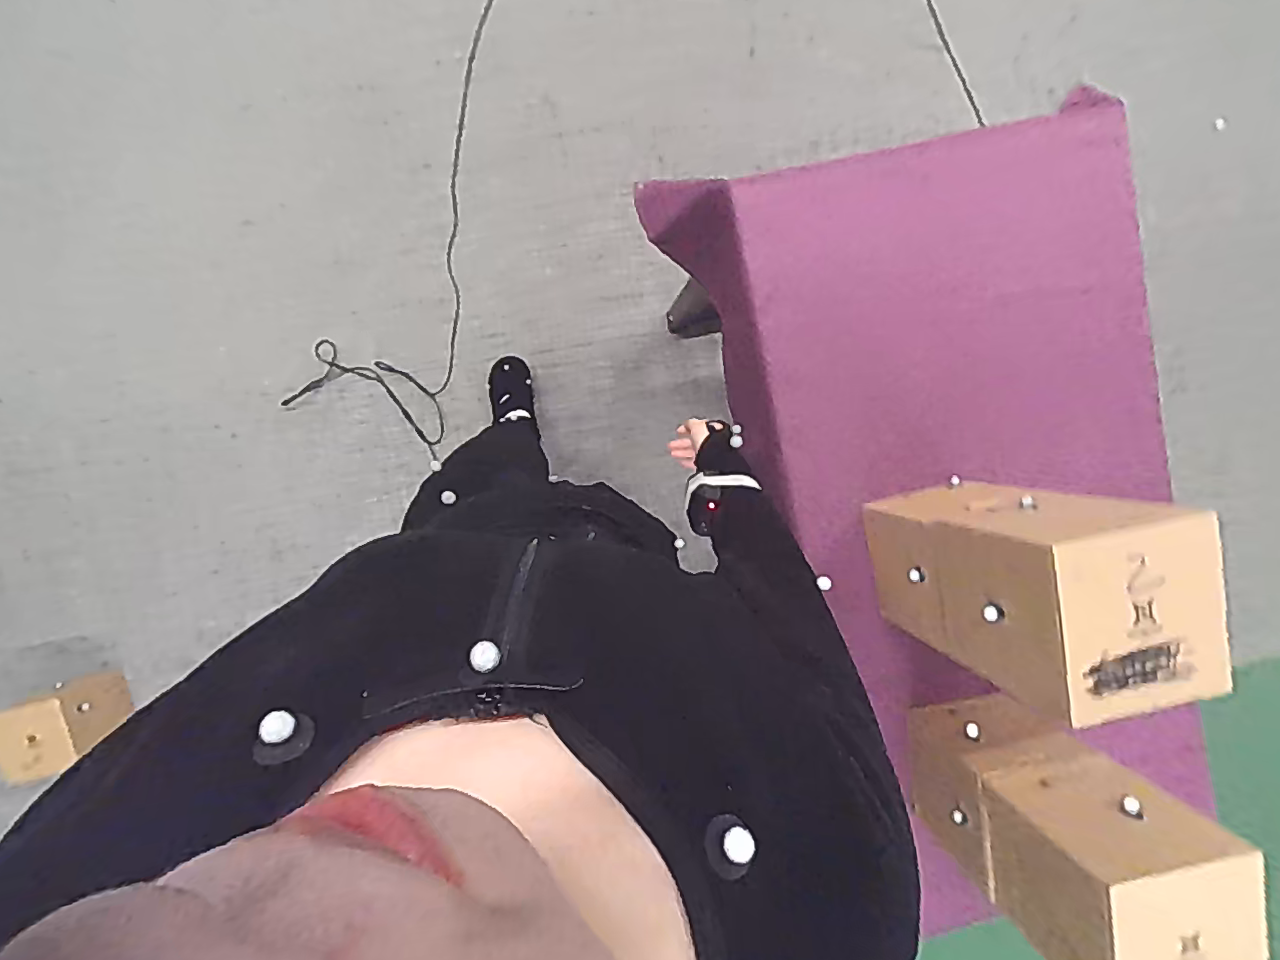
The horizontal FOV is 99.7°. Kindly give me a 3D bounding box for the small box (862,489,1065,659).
[{"bbox_3d":[0.427,0.113,0.738,0.168,0.176,0.179,-13,97,-5],"label":"small box"}]

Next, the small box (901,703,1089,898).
[{"bbox_3d":[0.498,0.440,0.776,0.168,0.176,0.179,-6,96,-4],"label":"small box"}]

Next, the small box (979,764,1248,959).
[{"bbox_3d":[0.519,0.453,0.616,0.168,0.176,0.179,-9,96,-4],"label":"small box"}]

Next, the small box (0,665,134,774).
[{"bbox_3d":[-1.411,0.574,1.327,0.168,0.176,0.179,-11,96,-4],"label":"small box"}]
